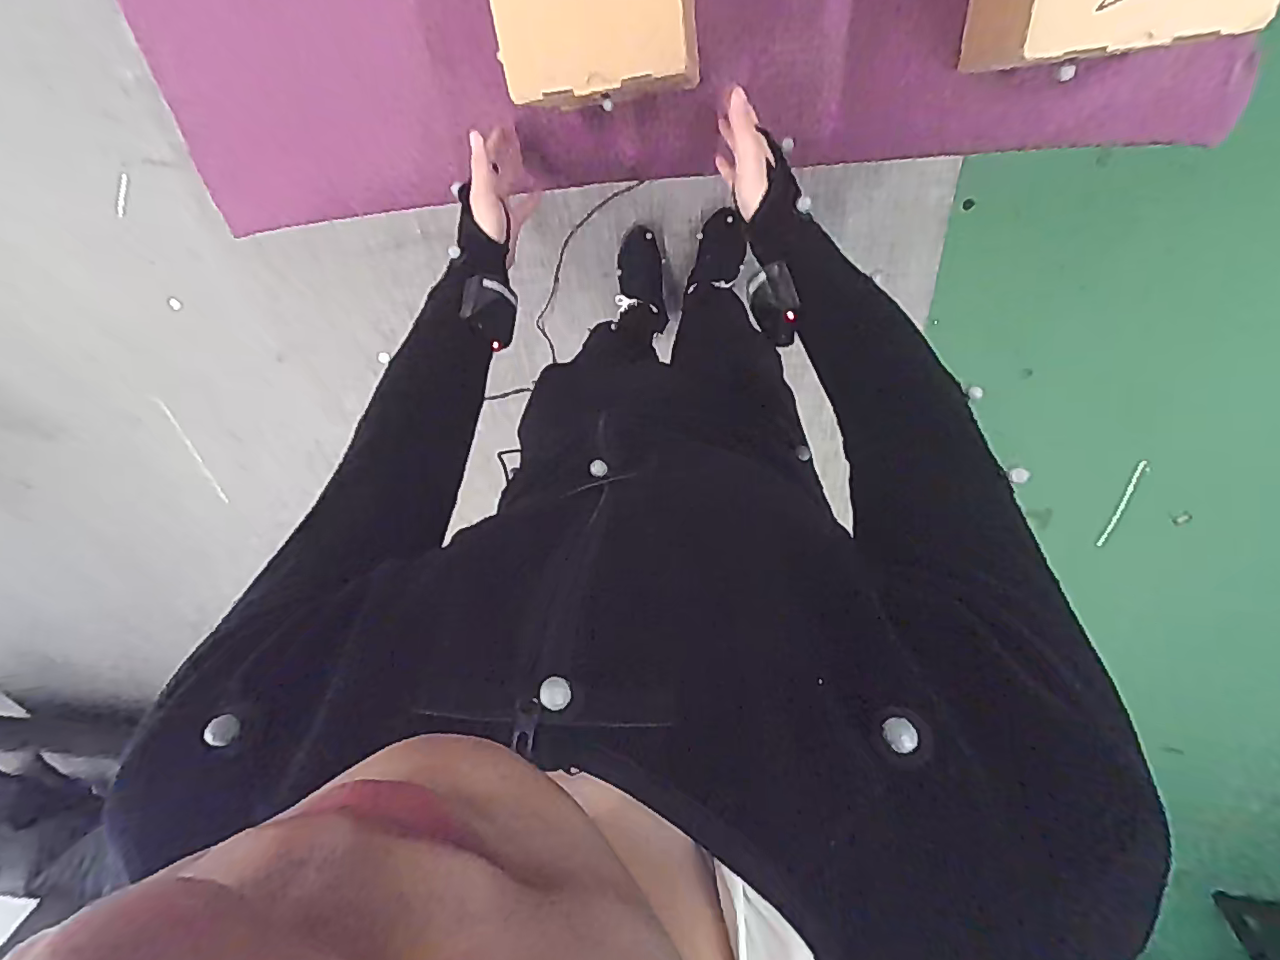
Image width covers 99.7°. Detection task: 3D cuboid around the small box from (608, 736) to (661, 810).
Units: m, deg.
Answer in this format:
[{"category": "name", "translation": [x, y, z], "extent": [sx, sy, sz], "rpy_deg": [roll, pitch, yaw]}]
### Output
[{"category": "small box", "translation": [-0.017, 1.047, 1.941], "extent": [0.168, 0.176, 0.179], "rpy_deg": [4, 126, 8]}]

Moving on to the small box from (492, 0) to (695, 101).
[{"category": "small box", "translation": [-0.039, -0.473, 0.506], "extent": [0.168, 0.176, 0.179], "rpy_deg": [-2, 124, 11]}]

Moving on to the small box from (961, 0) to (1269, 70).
[{"category": "small box", "translation": [0.387, -0.455, 0.438], "extent": [0.168, 0.176, 0.179], "rpy_deg": [1, 124, 11]}]
